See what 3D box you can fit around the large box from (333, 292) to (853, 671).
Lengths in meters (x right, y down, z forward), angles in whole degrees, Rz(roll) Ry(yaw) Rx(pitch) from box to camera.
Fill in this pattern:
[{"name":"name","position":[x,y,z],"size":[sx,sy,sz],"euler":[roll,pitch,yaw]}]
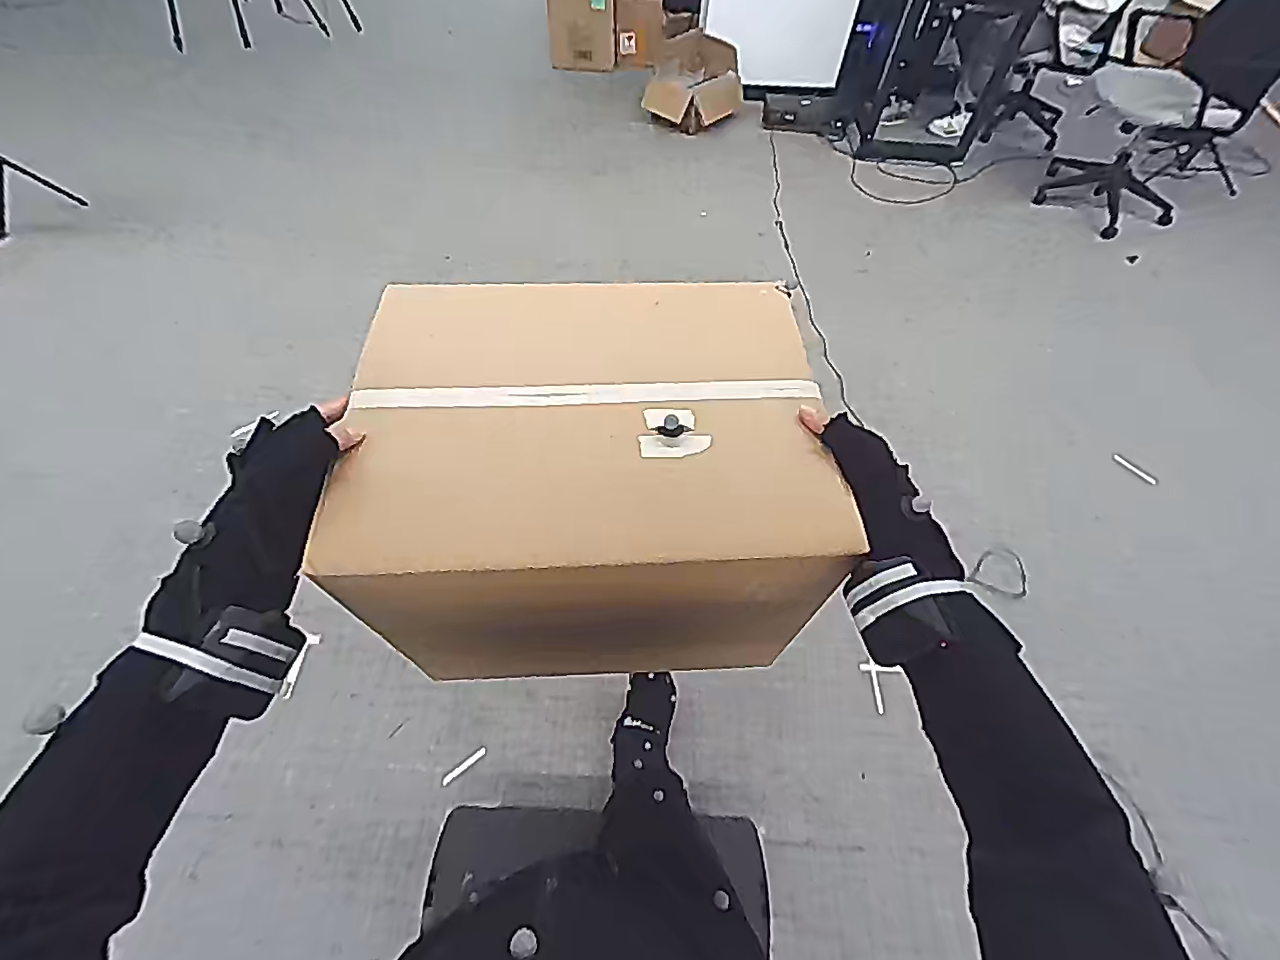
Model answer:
[{"name":"large box","position":[-0.045,0.011,0.612],"size":[0.408,0.320,0.320],"euler":[-1,57,-3]}]
